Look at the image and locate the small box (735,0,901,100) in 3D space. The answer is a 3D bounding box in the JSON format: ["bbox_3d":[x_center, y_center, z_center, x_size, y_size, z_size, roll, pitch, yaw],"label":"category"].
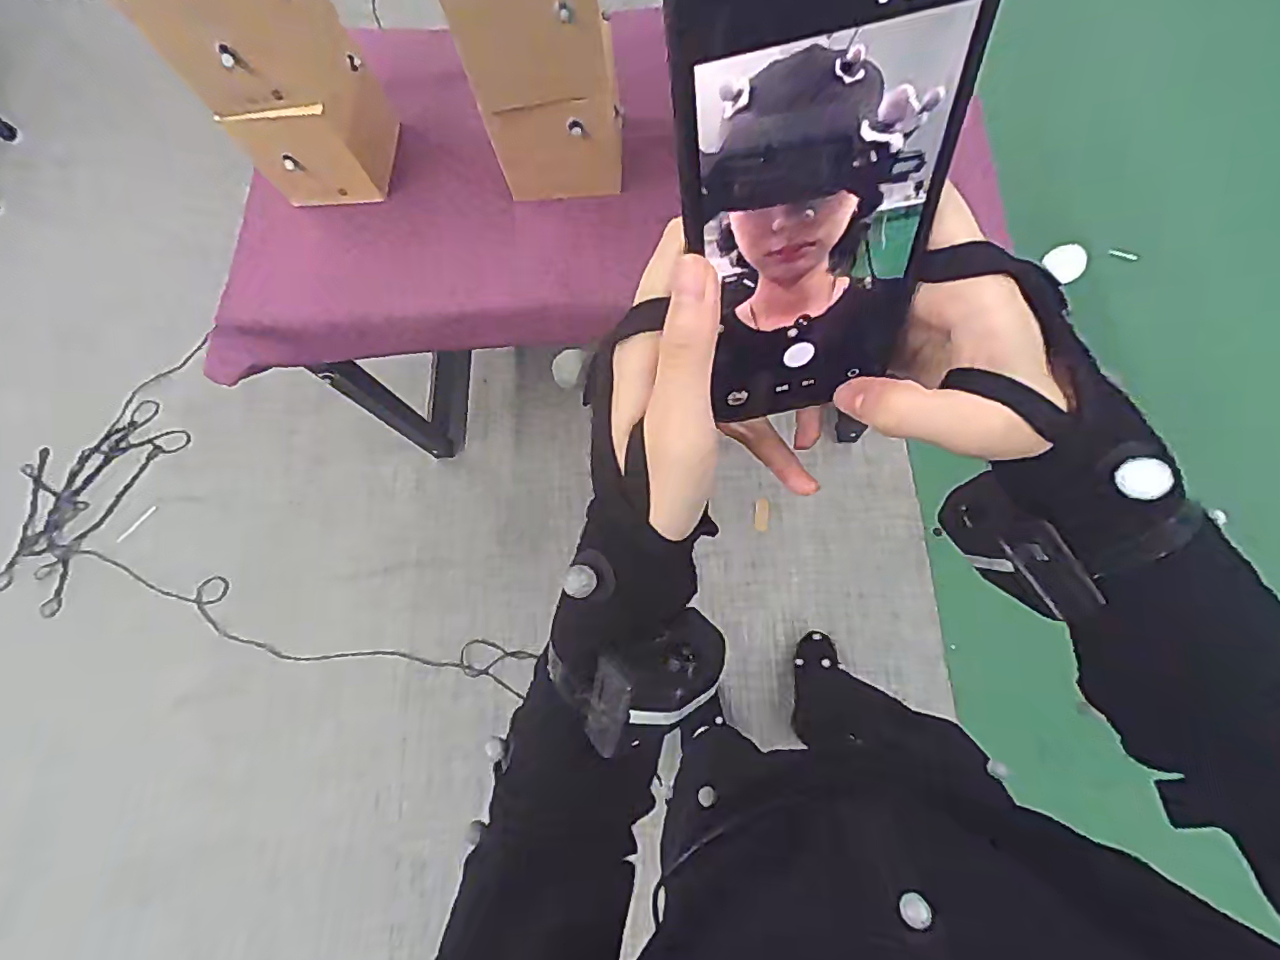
[{"bbox_3d":[0.206,-0.577,0.625,0.179,0.176,0.168,5,74,7],"label":"small box"}]

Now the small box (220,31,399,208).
[{"bbox_3d":[-0.513,-0.563,0.868,0.168,0.176,0.179,-1,73,6],"label":"small box"}]

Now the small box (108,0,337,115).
[{"bbox_3d":[-0.530,-0.618,0.714,0.168,0.176,0.179,-5,74,4],"label":"small box"}]

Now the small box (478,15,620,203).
[{"bbox_3d":[-0.125,-0.551,0.822,0.179,0.176,0.168,-1,73,6],"label":"small box"}]

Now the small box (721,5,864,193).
[{"bbox_3d":[0.214,-0.545,0.786,0.179,0.176,0.168,5,74,8],"label":"small box"}]
